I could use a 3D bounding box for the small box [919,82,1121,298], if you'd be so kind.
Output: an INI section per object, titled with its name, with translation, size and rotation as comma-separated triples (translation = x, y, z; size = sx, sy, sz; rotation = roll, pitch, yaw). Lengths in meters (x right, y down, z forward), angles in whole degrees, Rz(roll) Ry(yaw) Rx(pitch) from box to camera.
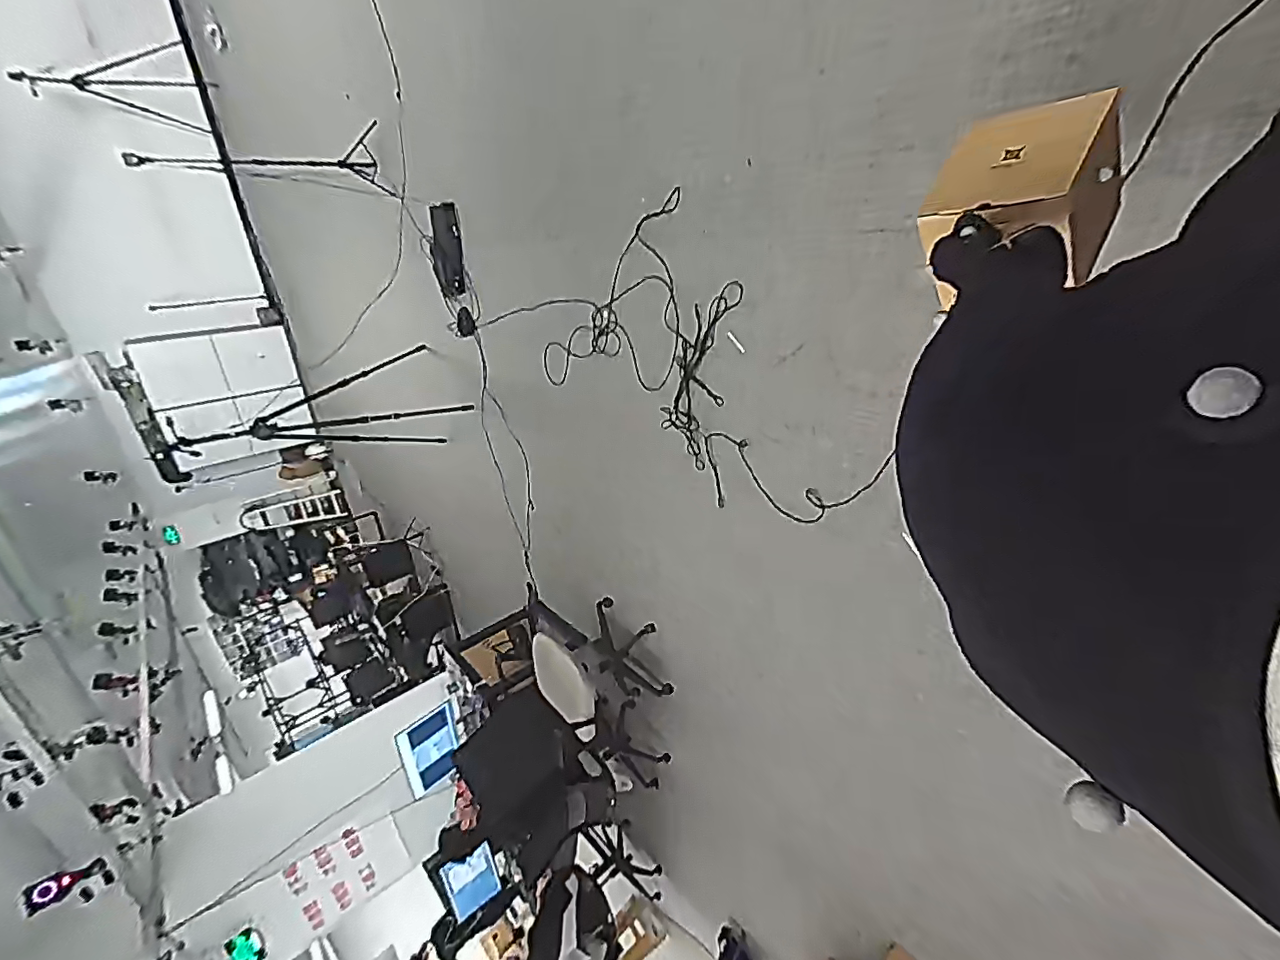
[small box]
translation = 0.508, -0.370, 0.723
size = 0.168, 0.179, 0.176
rotation = 20, 166, 47
